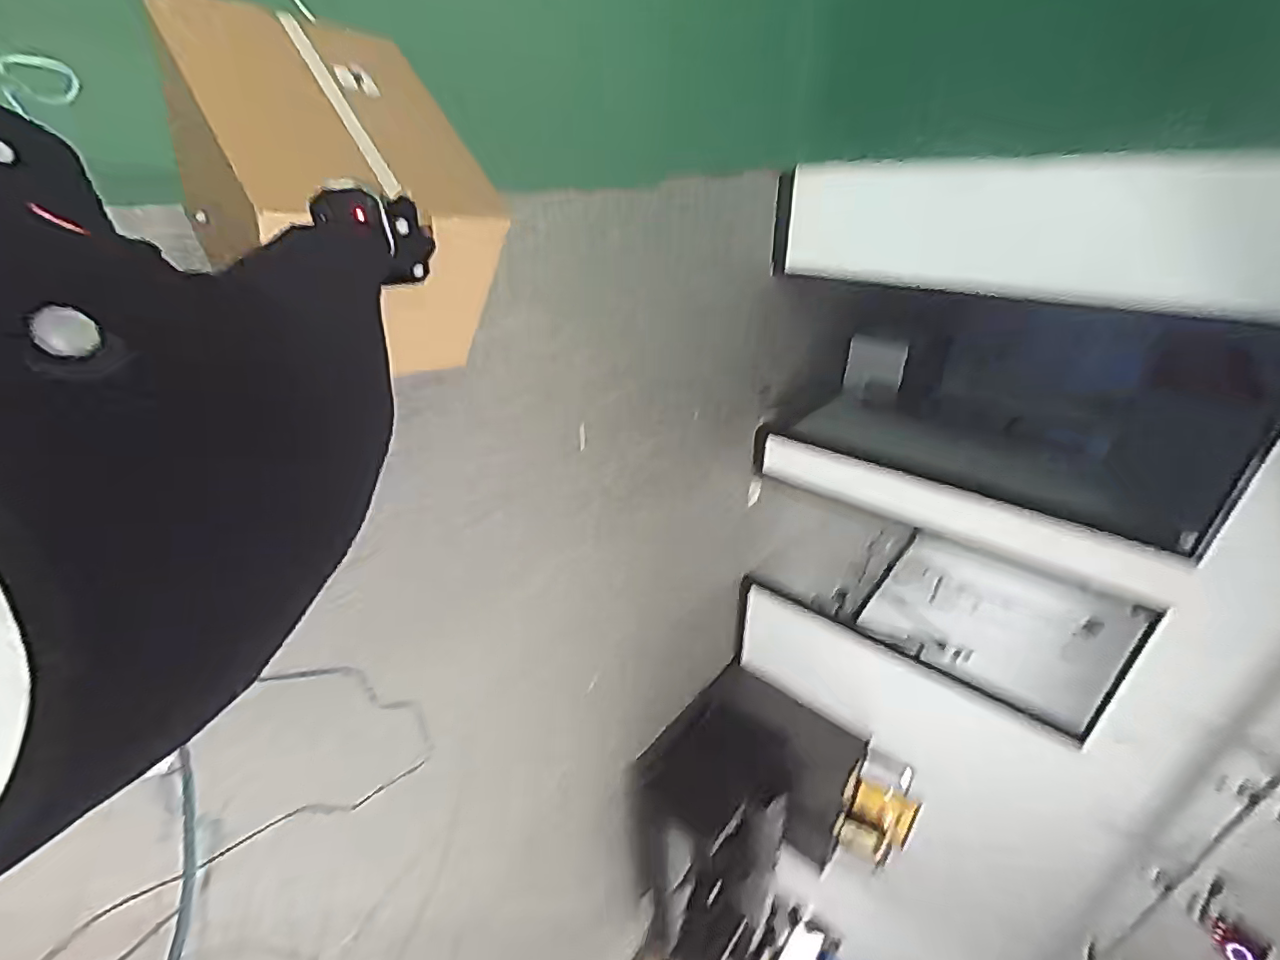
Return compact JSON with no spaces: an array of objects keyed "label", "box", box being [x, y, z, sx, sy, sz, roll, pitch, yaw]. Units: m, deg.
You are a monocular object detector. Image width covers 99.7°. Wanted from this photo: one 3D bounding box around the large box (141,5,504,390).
[{"label":"large box","box":[-0.472,-0.408,0.836,0.320,0.408,0.320,-22,161,-40]}]
